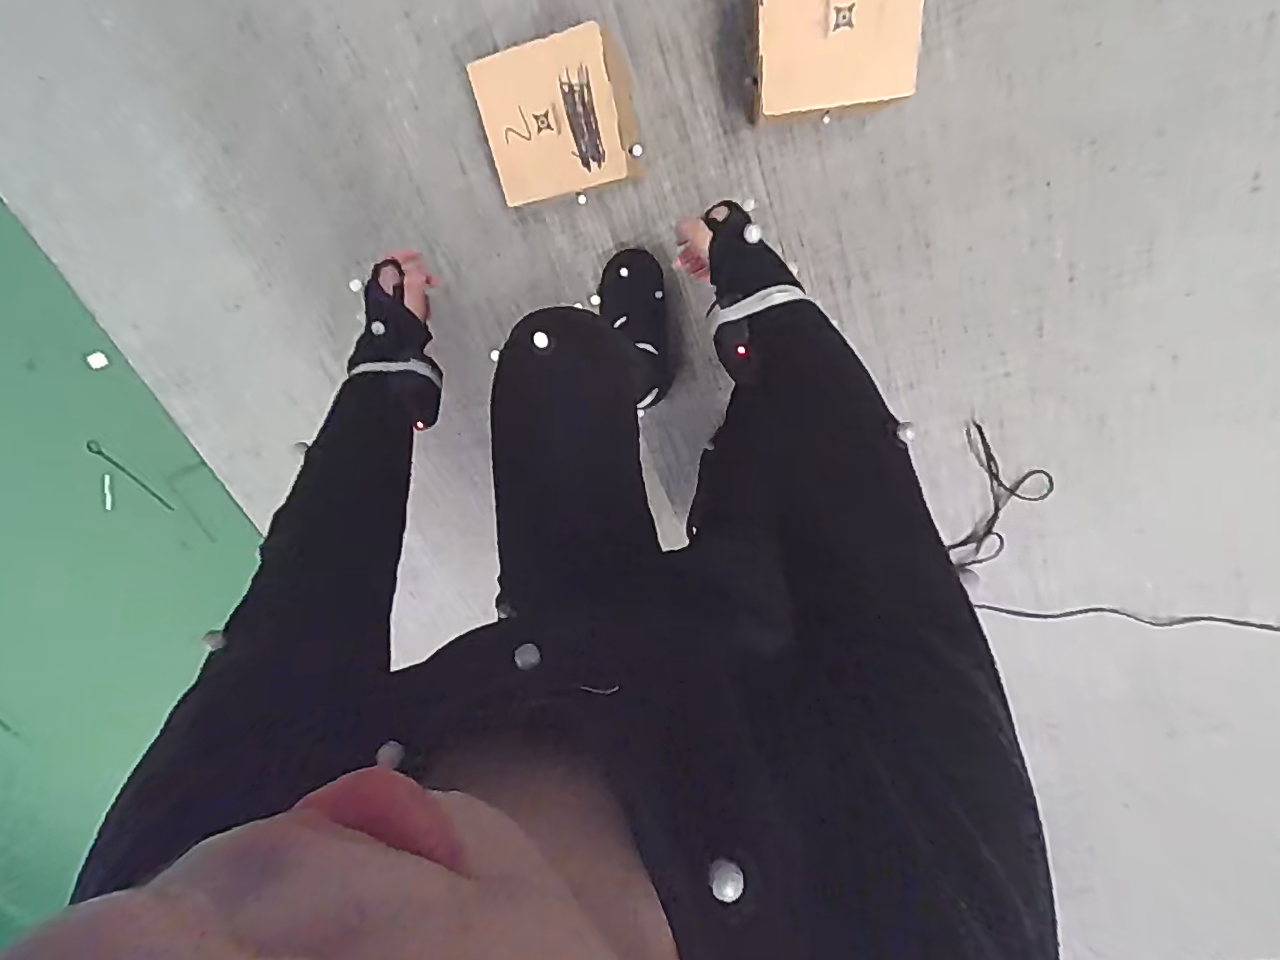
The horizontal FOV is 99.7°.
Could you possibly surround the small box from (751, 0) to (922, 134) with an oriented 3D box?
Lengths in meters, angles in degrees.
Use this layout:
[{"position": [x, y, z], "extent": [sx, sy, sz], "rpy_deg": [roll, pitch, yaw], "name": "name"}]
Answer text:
[{"position": [0.230, -0.540, 0.670], "extent": [0.179, 0.176, 0.168], "rpy_deg": [-1, 118, 9], "name": "small box"}]
